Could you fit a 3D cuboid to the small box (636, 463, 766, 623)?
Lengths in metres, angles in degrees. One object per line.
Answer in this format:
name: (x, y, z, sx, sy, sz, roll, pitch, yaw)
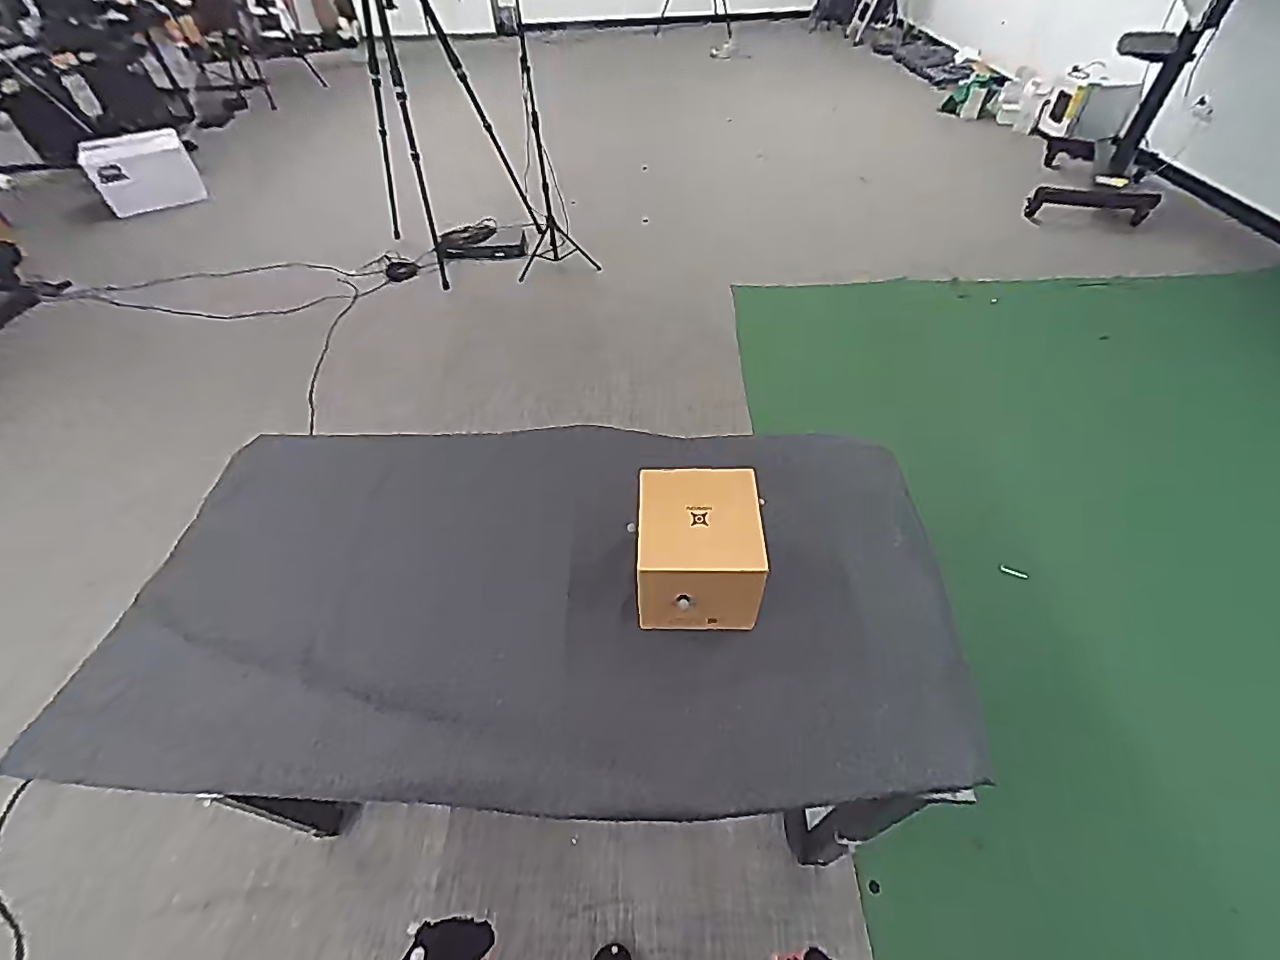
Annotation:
small box: (0.083, 0.095, 0.786, 0.168, 0.176, 0.179, 0, 48, 3)
